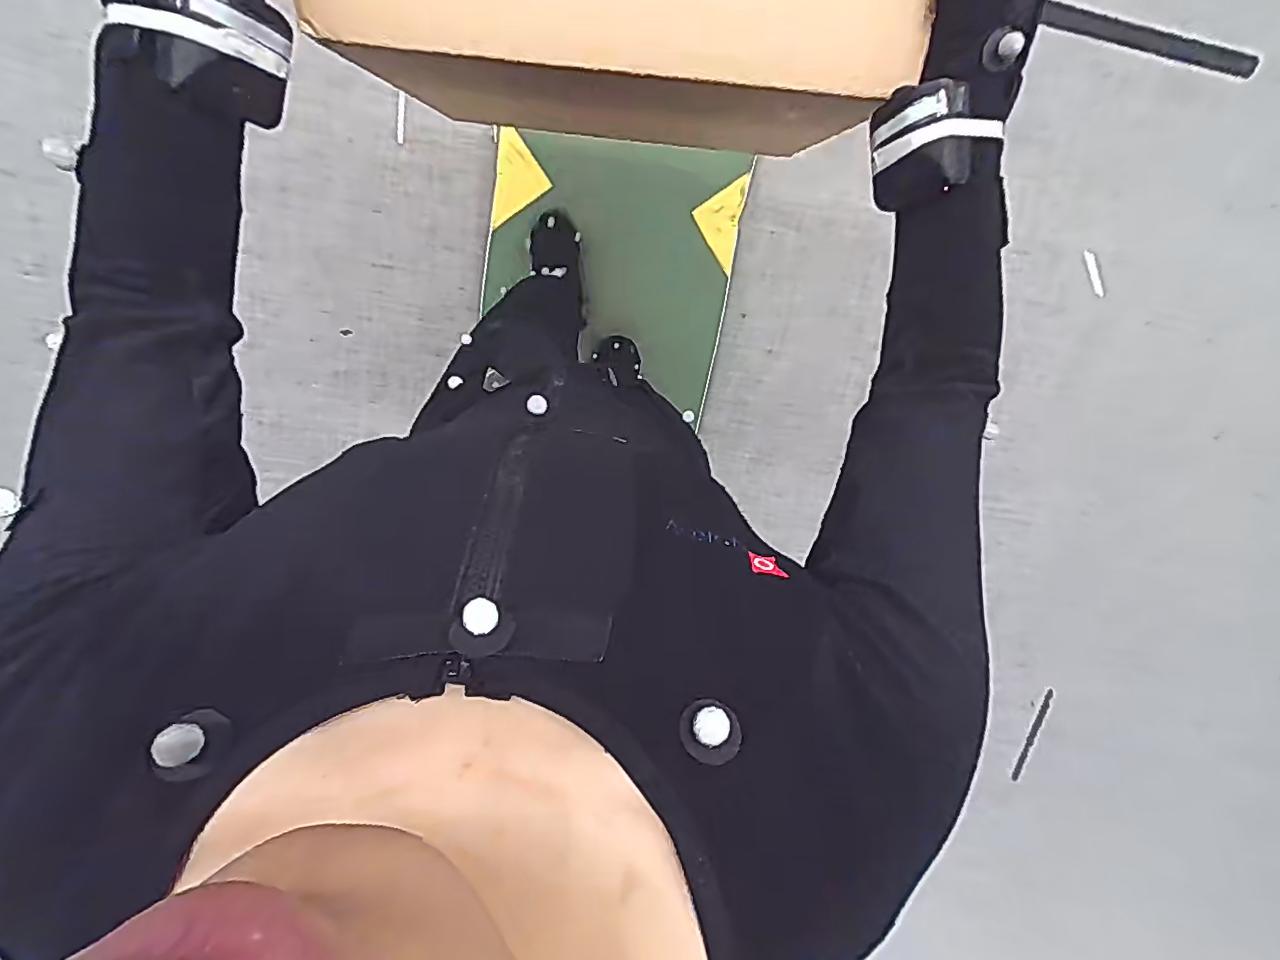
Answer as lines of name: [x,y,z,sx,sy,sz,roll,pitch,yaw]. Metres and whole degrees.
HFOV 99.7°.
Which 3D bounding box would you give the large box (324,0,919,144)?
large box: [-0.008,-0.490,0.444,0.408,0.320,0.320,3,115,-3]
